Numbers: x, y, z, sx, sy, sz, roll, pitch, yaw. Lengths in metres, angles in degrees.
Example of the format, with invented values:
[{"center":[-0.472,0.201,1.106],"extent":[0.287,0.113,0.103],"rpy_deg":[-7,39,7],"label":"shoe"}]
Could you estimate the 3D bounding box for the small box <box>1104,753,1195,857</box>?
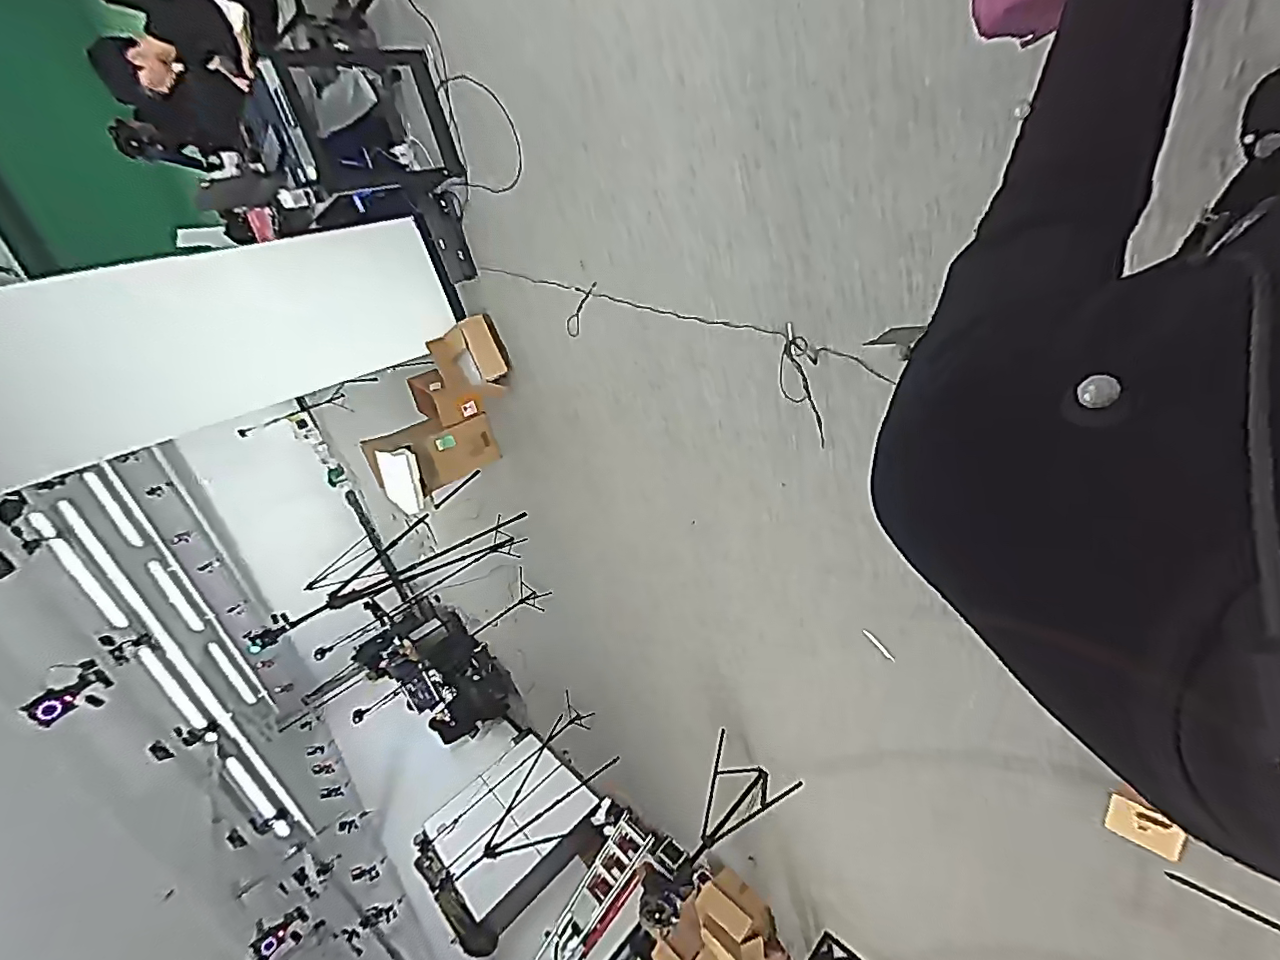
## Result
[{"center":[1.547,0.978,1.642],"extent":[0.168,0.176,0.179],"rpy_deg":[16,130,47],"label":"small box"}]
